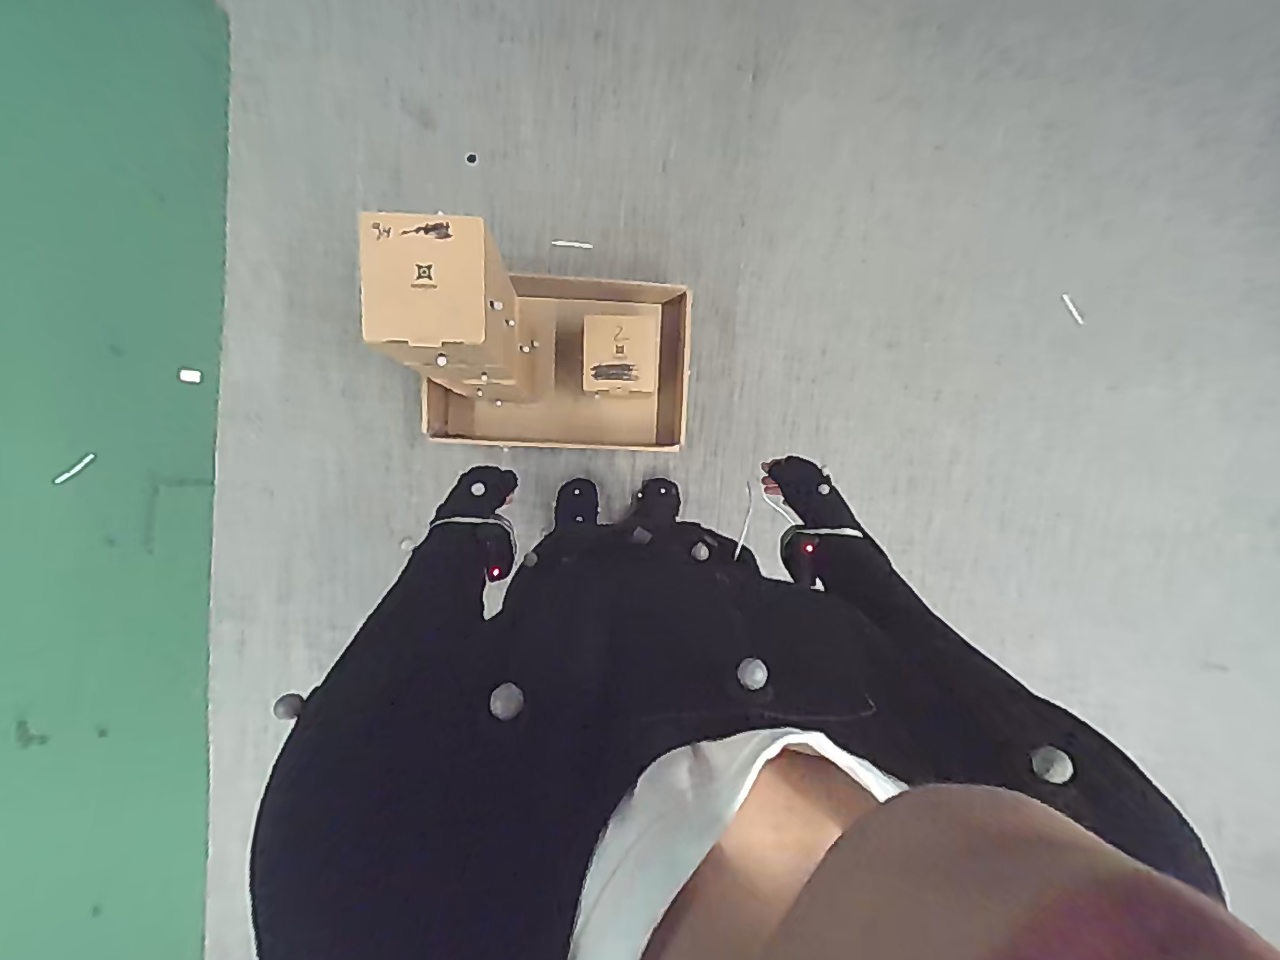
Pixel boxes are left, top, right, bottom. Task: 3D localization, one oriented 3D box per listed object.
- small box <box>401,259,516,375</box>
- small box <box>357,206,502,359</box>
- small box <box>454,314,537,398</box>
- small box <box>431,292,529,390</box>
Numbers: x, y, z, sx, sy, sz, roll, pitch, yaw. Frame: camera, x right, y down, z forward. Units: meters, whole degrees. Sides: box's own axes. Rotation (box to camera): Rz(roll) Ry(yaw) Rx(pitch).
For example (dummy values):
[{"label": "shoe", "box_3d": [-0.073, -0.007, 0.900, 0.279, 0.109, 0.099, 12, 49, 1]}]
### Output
[{"label": "small box", "box_3d": [-0.315, -0.285, 0.964, 0.168, 0.176, 0.179, 1, 93, -5]}, {"label": "small box", "box_3d": [-0.300, -0.278, 0.801, 0.168, 0.176, 0.179, 1, 94, -6]}, {"label": "small box", "box_3d": [-0.340, -0.297, 1.290, 0.168, 0.176, 0.179, 4, 93, -5]}, {"label": "small box", "box_3d": [-0.326, -0.289, 1.127, 0.168, 0.176, 0.179, 3, 94, -5]}]
